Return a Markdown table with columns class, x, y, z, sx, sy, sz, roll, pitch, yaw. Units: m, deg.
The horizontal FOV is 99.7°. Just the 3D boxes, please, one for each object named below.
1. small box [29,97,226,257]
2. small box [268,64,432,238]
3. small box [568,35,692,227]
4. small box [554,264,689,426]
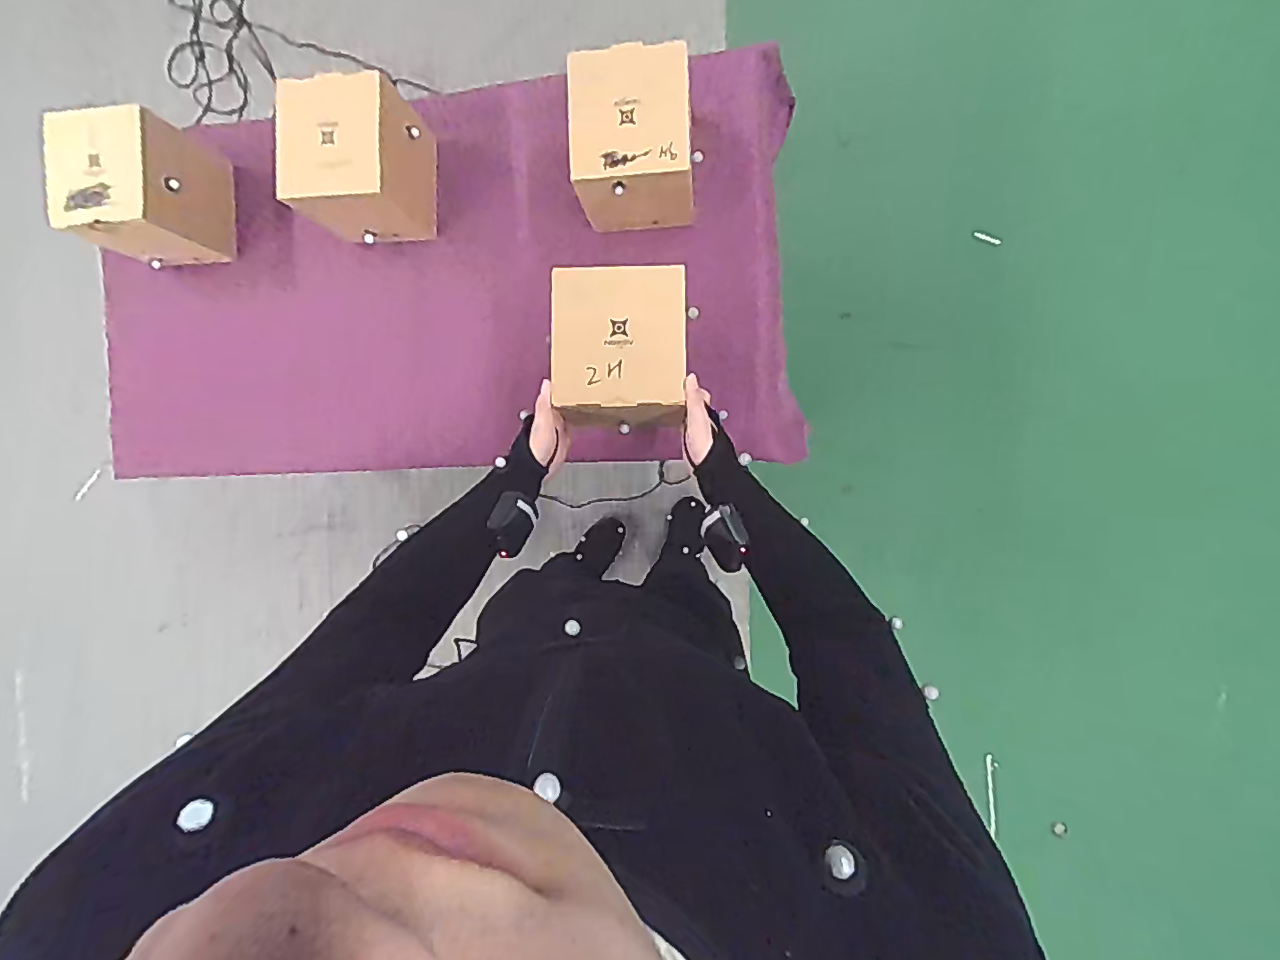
| class | x | y | z | sx | sy | sz | roll | pitch | yaw |
| --- | --- | --- | --- | --- | --- | --- | --- | --- | --- |
| small box | -0.818 | -0.476 | 0.881 | 0.168 | 0.176 | 0.179 | -1 | 93 | 5 |
| small box | -0.443 | -0.501 | 0.847 | 0.168 | 0.176 | 0.179 | 1 | 93 | 6 |
| small box | -0.008 | -0.503 | 0.803 | 0.168 | 0.176 | 0.179 | -1 | 92 | 6 |
| small box | -0.021 | -0.174 | 0.738 | 0.168 | 0.176 | 0.179 | 0 | 88 | 2 |
